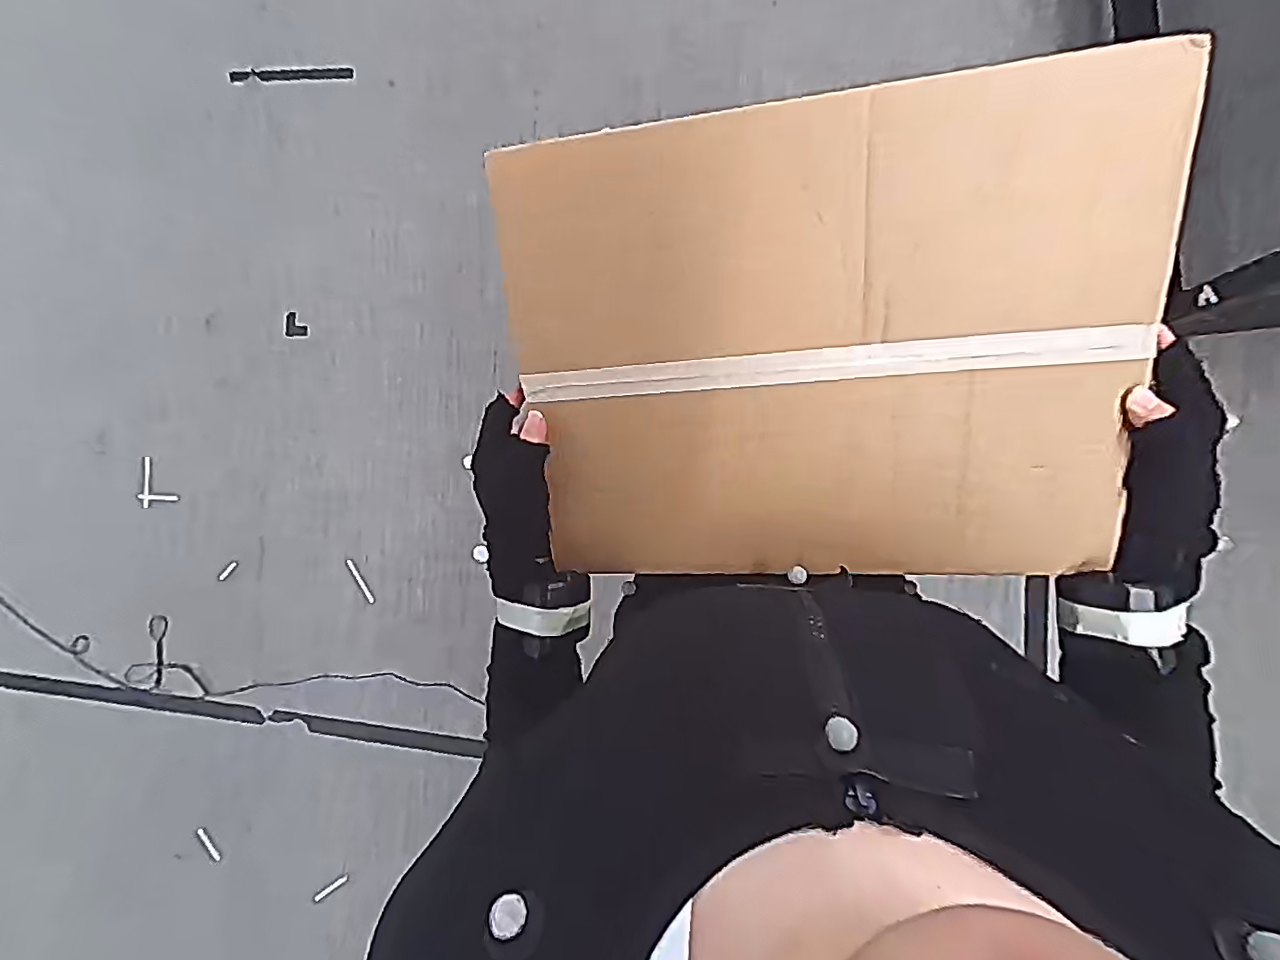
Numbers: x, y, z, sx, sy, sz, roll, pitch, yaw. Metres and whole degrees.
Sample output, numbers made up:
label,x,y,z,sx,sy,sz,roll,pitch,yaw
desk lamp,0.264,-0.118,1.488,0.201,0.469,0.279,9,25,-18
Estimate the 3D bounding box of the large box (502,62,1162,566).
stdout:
label,x,y,z,sx,sy,sz,roll,pitch,yaw
large box,0.136,-0.126,0.521,0.408,0.320,0.320,-2,110,11
